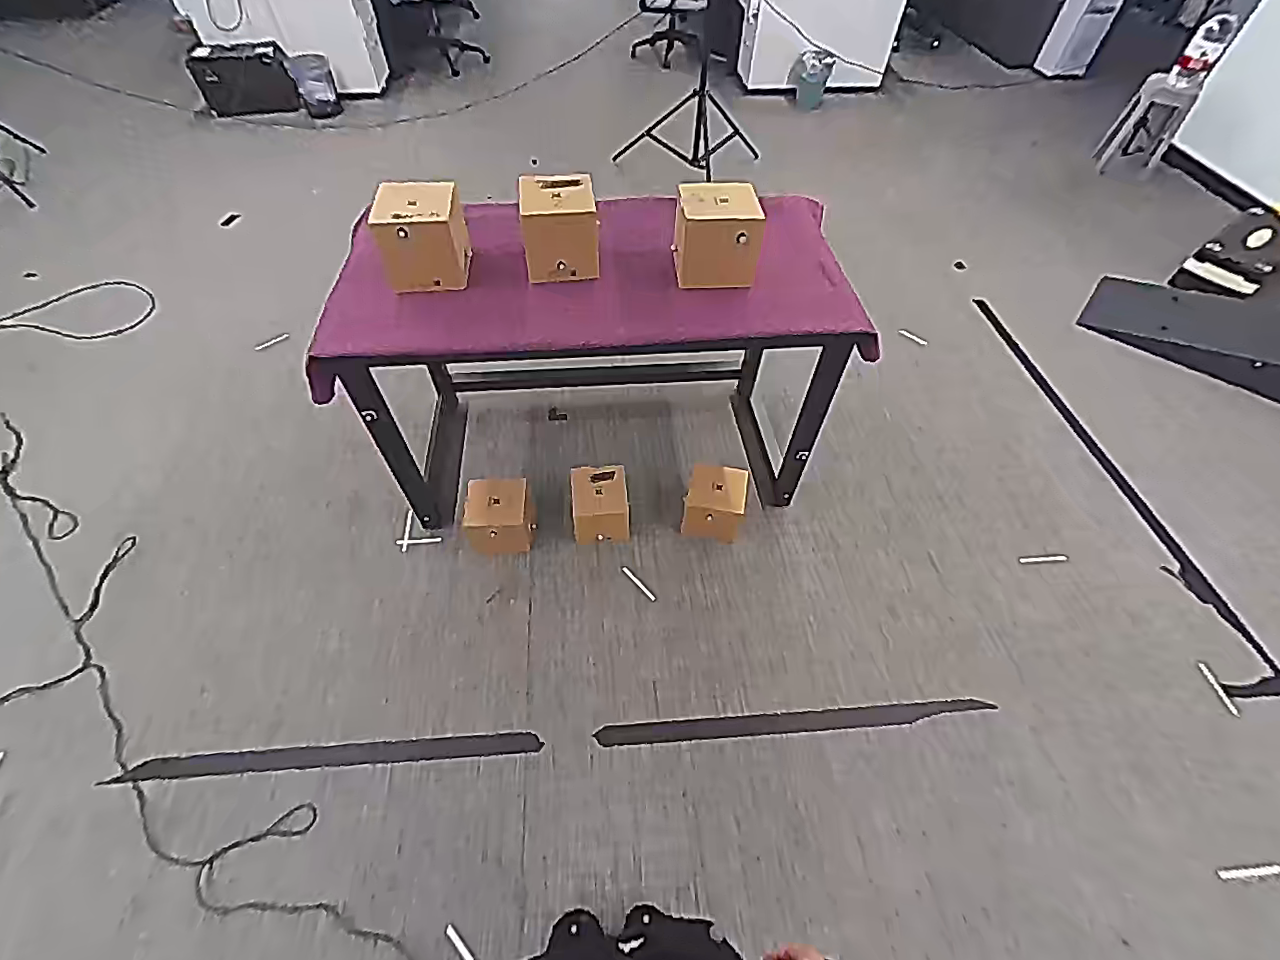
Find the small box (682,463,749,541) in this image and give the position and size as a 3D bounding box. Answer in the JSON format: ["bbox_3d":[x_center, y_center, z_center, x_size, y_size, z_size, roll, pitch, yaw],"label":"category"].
[{"bbox_3d":[0.235,0.074,1.696,0.179,0.176,0.168,9,54,8],"label":"small box"}]

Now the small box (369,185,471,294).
[{"bbox_3d":[-0.491,-0.548,1.236,0.168,0.176,0.179,-5,53,-5],"label":"small box"}]

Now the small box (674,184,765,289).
[{"bbox_3d":[0.177,-0.564,1.261,0.179,0.176,0.168,-2,52,-2],"label":"small box"}]

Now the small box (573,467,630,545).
[{"bbox_3d":[-0.122,0.083,1.680,0.168,0.176,0.179,-5,54,-4],"label":"small box"}]
